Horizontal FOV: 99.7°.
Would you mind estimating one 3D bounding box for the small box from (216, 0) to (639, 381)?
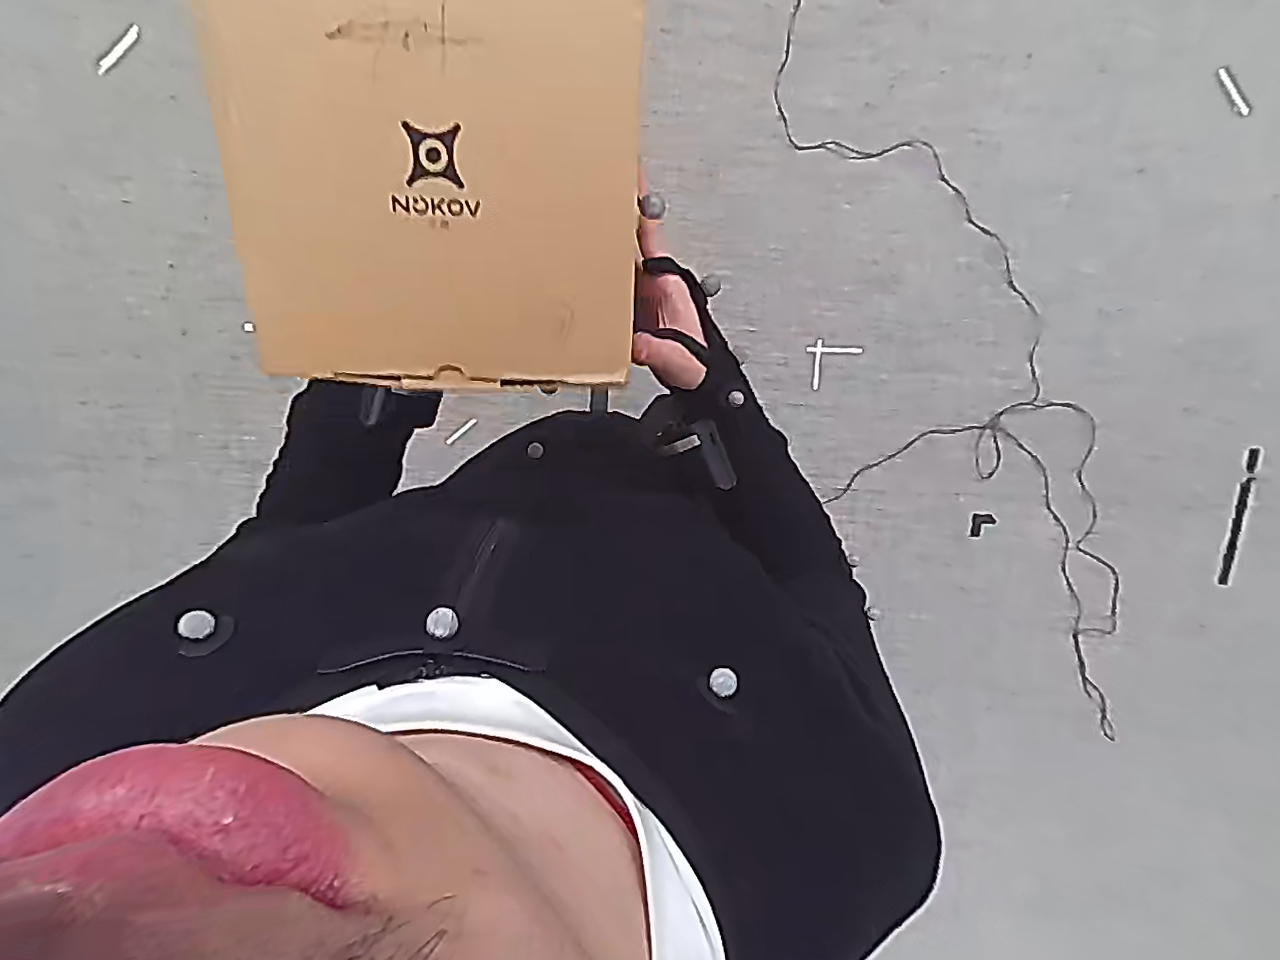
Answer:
[{"bbox_3d":[-0.089,-0.157,0.306,0.168,0.176,0.179,1,107,-4],"label":"small box"}]
